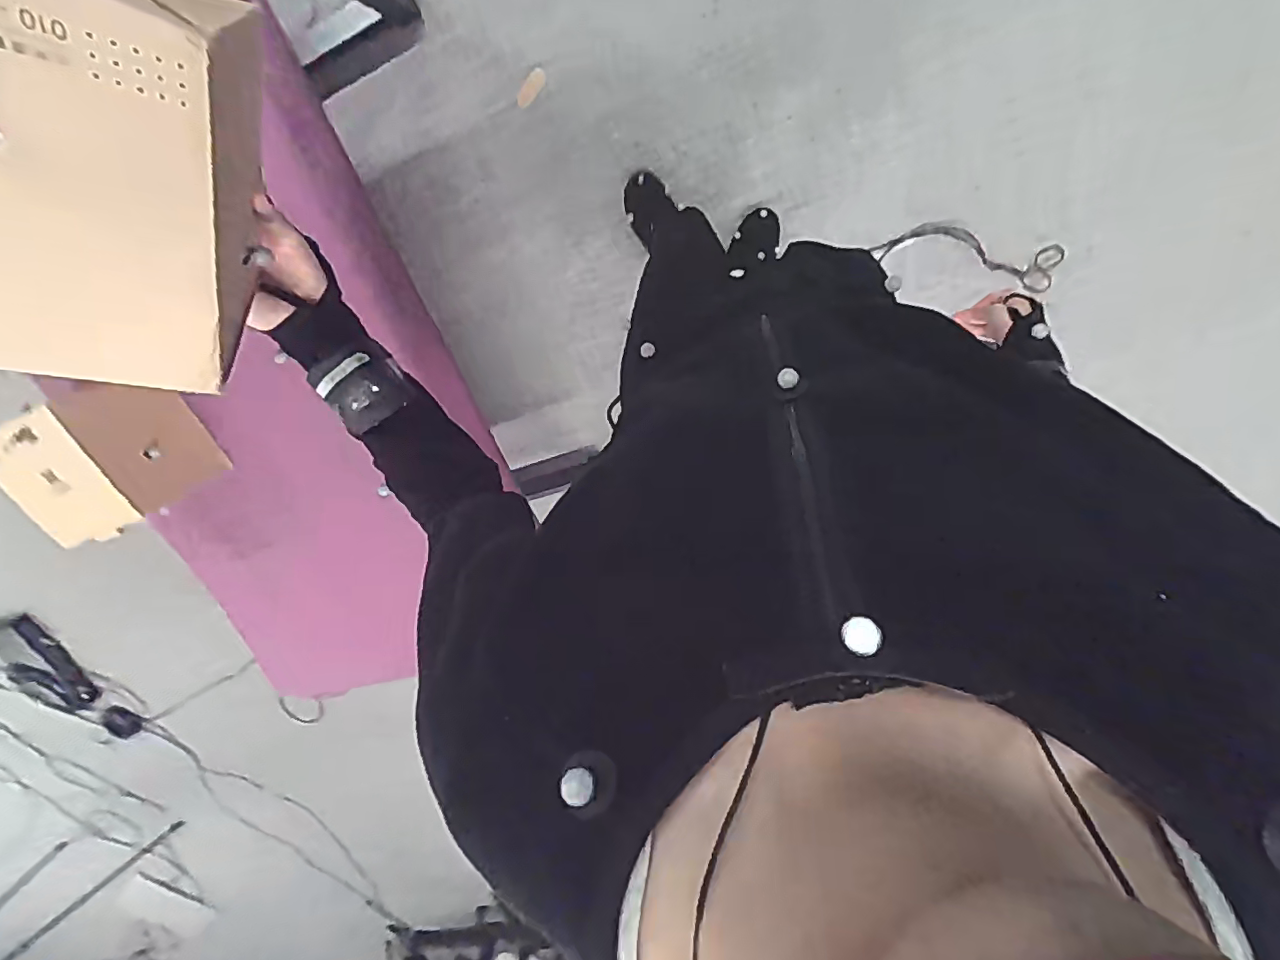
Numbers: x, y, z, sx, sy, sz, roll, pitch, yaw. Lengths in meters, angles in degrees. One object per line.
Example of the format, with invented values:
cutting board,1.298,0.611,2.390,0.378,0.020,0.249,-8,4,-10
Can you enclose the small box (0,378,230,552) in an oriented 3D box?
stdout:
small box,-0.763,-0.028,0.787,0.168,0.176,0.179,-18,114,13

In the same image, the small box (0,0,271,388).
small box,-0.285,-0.173,0.259,0.168,0.179,0.176,5,128,-31
